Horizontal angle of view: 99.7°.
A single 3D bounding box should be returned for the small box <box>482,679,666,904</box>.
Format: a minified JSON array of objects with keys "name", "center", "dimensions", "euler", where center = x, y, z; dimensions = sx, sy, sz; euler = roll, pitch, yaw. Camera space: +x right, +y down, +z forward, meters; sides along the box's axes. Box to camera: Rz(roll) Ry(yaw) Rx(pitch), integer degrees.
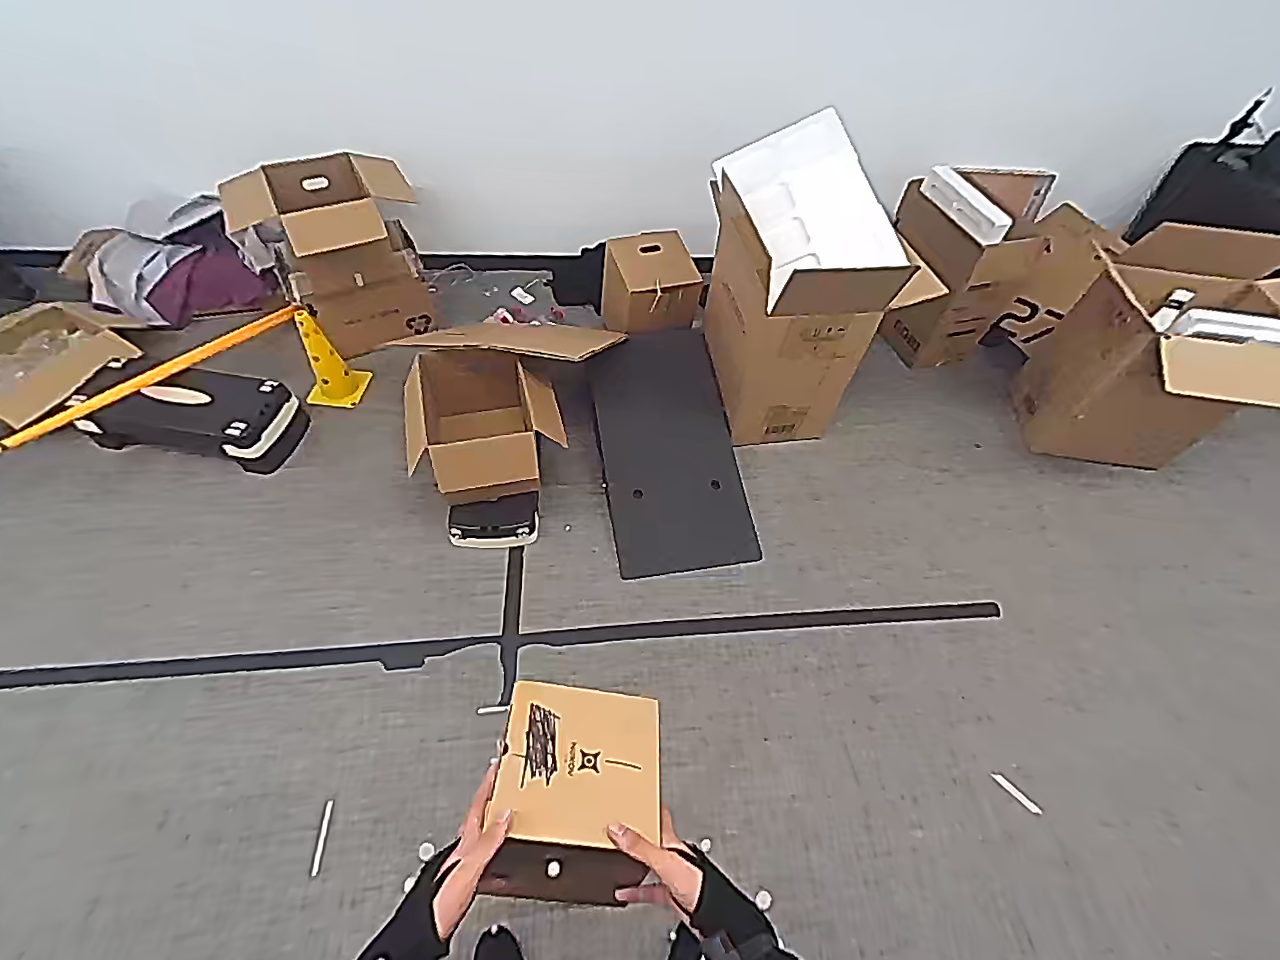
[{"name":"small box","center":[-0.075,0.358,0.620],"dimensions":[0.179,0.176,0.168],"euler":[11,36,-7]}]
